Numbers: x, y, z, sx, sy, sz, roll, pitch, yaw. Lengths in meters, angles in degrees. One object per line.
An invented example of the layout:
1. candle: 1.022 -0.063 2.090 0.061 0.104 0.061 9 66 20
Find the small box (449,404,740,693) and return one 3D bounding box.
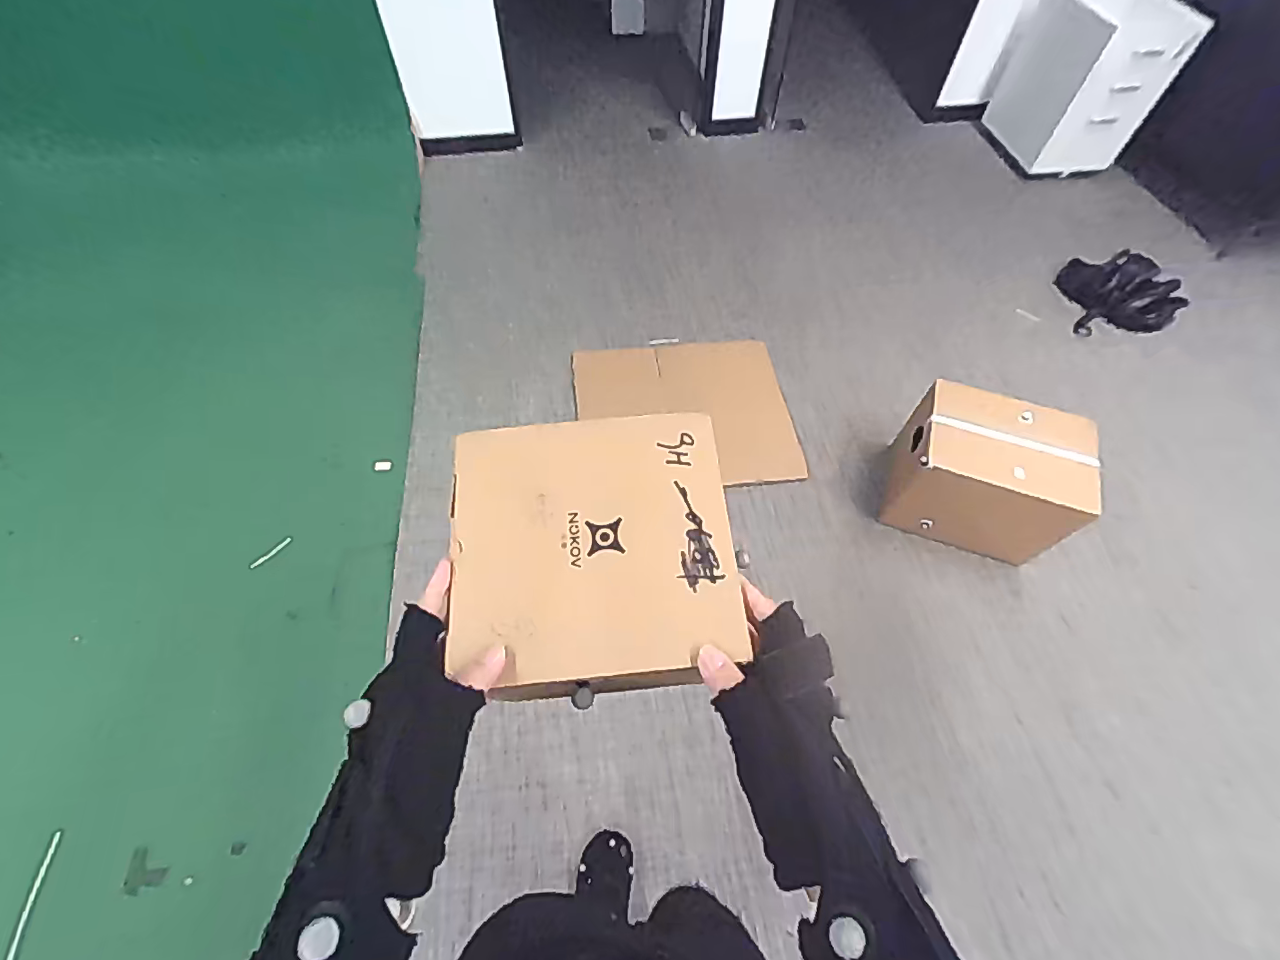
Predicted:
1. small box: -0.034 0.063 0.422 0.179 0.176 0.168 -7 64 -4
